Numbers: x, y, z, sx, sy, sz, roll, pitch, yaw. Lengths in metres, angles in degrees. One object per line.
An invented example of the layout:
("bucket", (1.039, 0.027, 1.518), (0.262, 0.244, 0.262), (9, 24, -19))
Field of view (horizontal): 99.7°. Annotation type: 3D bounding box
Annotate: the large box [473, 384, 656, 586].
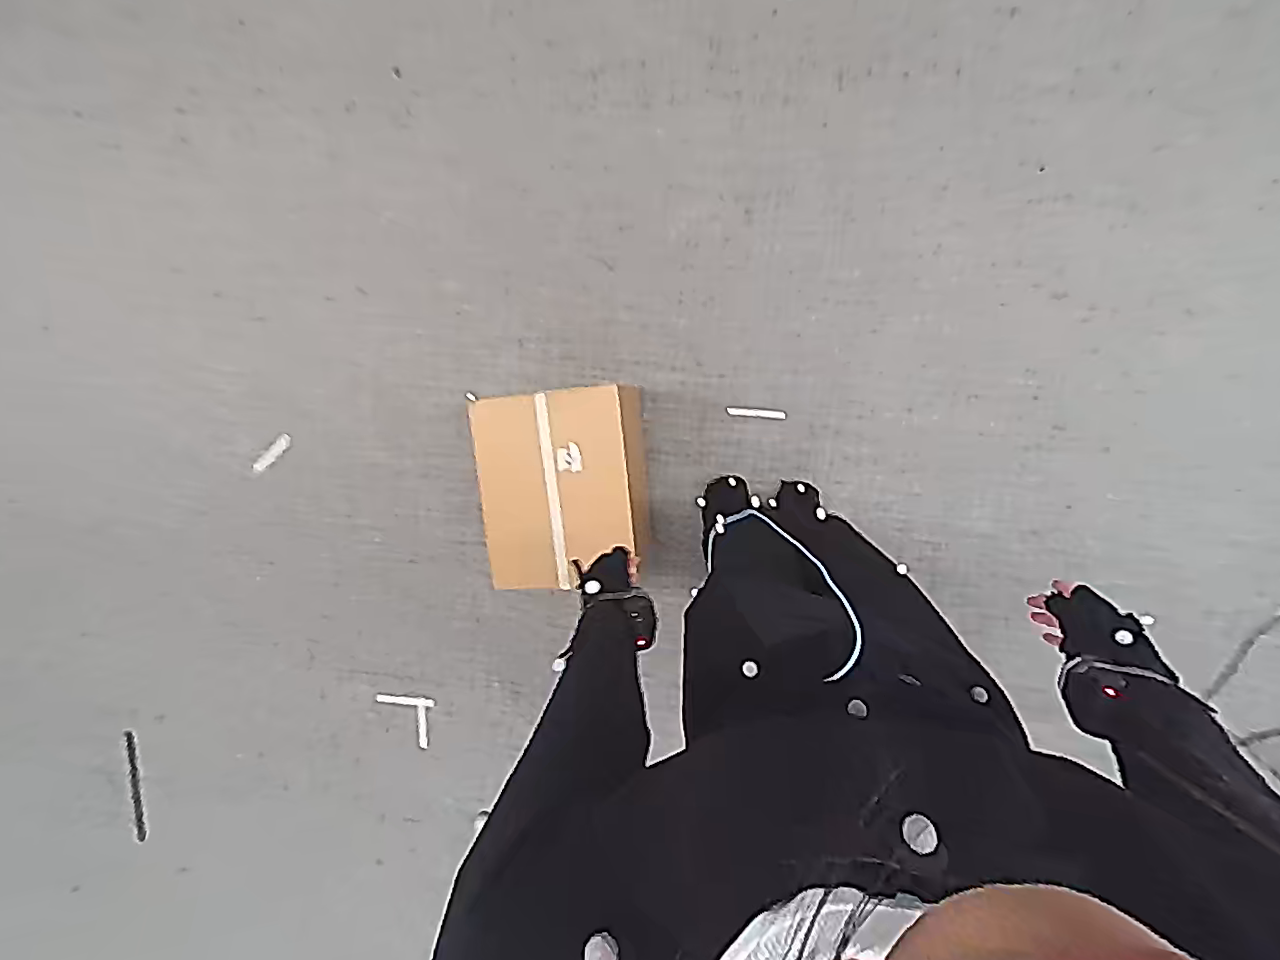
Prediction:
("large box", (-0.151, 0.001, 1.259), (0.320, 0.320, 0.408), (-5, 96, 8))
